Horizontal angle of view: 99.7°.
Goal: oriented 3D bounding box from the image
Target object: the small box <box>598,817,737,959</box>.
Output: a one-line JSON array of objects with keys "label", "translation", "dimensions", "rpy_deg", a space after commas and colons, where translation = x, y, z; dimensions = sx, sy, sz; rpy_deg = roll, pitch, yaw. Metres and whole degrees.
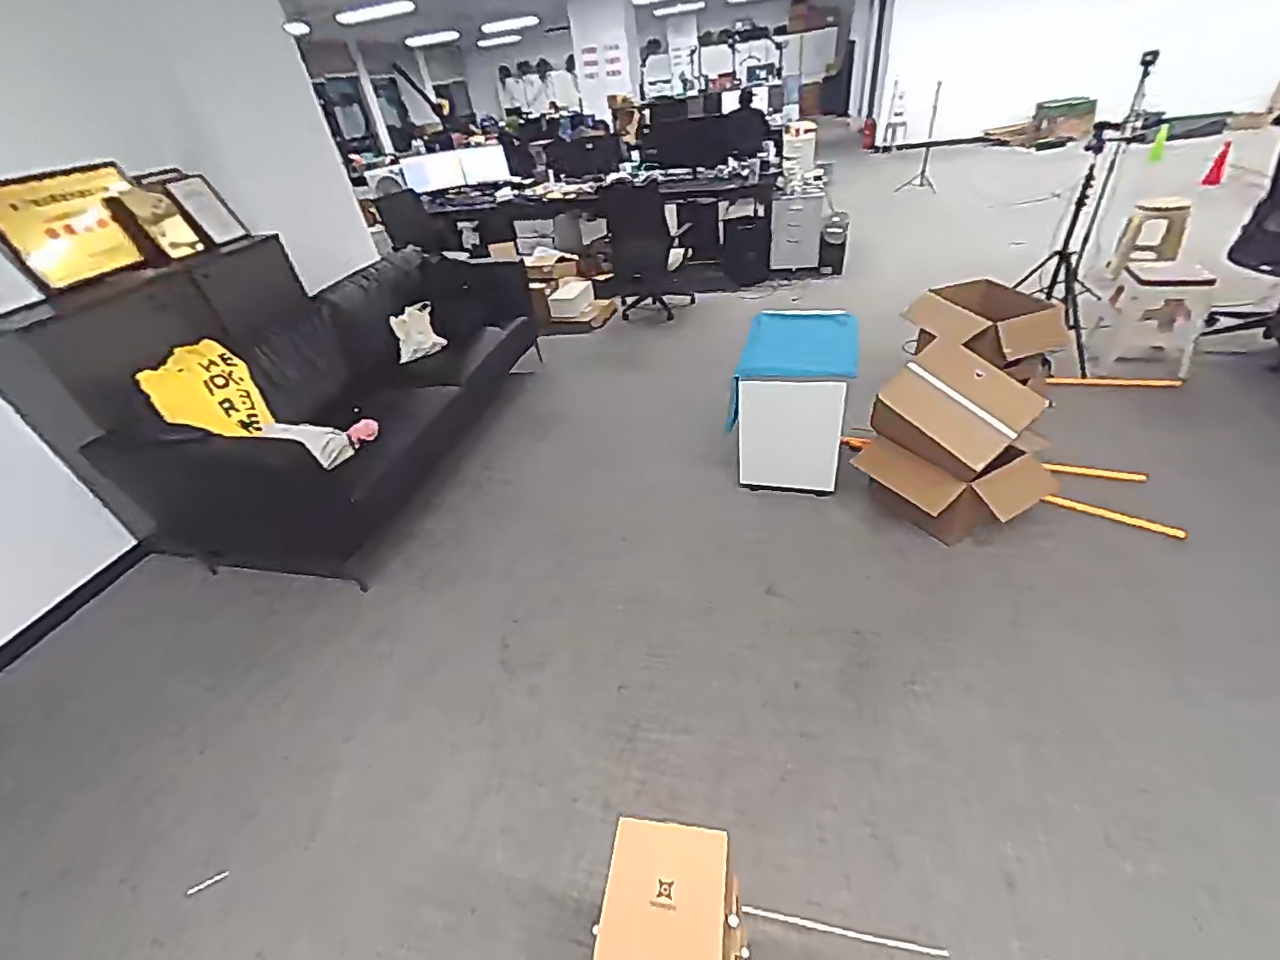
[{"label": "small box", "translation": [0.051, 0.625, 0.780], "dimensions": [0.168, 0.176, 0.179], "rpy_deg": [-1, 39, 13]}]

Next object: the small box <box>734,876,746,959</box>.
[{"label": "small box", "translation": [0.080, 0.753, 0.878], "dimensions": [0.179, 0.176, 0.168], "rpy_deg": [0, 38, 13]}]
